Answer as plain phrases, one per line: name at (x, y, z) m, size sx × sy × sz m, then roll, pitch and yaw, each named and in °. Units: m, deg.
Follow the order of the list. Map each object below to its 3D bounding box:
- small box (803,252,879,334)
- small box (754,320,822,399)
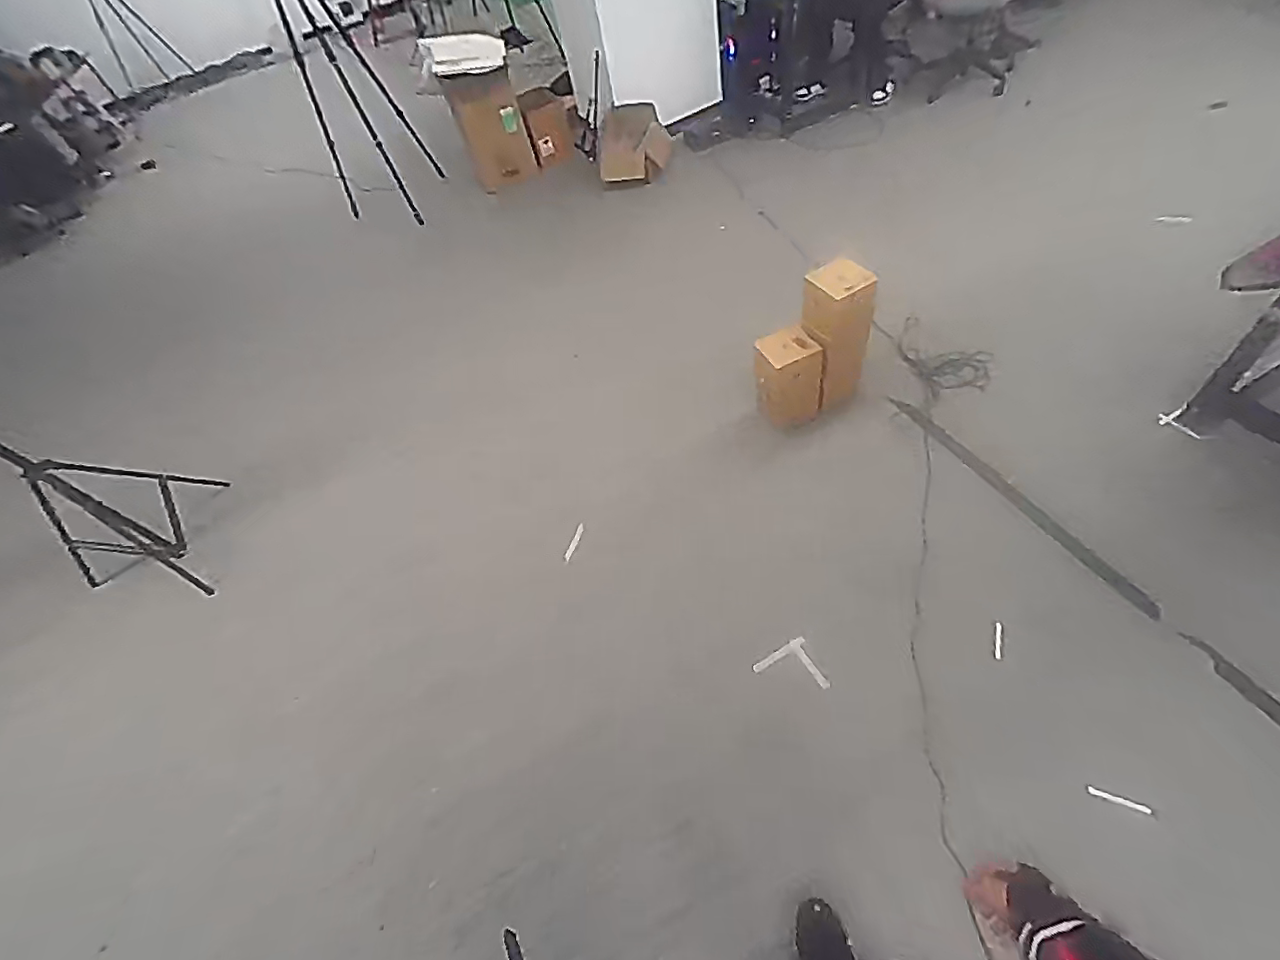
small box at (0.657, -0.616, 1.793) m, size 0.168 × 0.176 × 0.179 m, roll -30°, pitch 51°, yaw -6°
small box at (0.516, -0.419, 1.895) m, size 0.179 × 0.176 × 0.168 m, roll -26°, pitch 51°, yaw -2°
